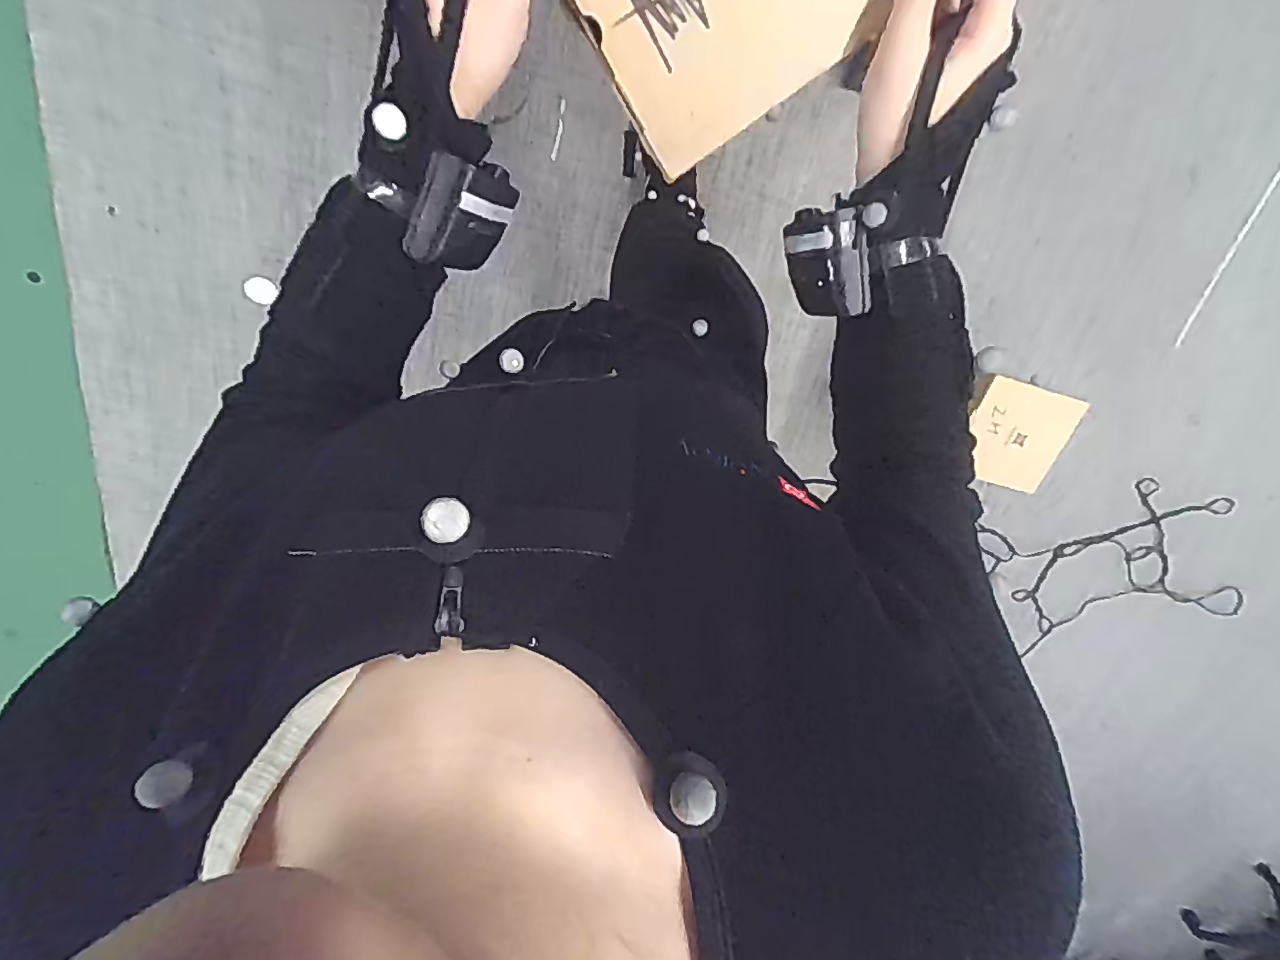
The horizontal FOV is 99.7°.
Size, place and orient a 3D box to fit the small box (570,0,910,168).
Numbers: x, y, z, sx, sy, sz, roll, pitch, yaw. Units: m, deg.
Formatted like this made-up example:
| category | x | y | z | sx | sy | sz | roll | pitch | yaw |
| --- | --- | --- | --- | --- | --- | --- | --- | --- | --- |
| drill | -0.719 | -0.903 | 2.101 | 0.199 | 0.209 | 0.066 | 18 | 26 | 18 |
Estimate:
| category | x | y | z | sx | sy | sz | roll | pitch | yaw |
| --- | --- | --- | --- | --- | --- | --- | --- | --- | --- |
| small box | 0.044 | -0.321 | 0.314 | 0.179 | 0.176 | 0.168 | -28 | 124 | 19 |

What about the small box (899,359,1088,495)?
| category | x | y | z | sx | sy | sz | roll | pitch | yaw |
| --- | --- | --- | --- | --- | --- | --- | --- | --- | --- |
| small box | 0.595 | -0.098 | 0.937 | 0.179 | 0.176 | 0.168 | 14 | 112 | -8 |
